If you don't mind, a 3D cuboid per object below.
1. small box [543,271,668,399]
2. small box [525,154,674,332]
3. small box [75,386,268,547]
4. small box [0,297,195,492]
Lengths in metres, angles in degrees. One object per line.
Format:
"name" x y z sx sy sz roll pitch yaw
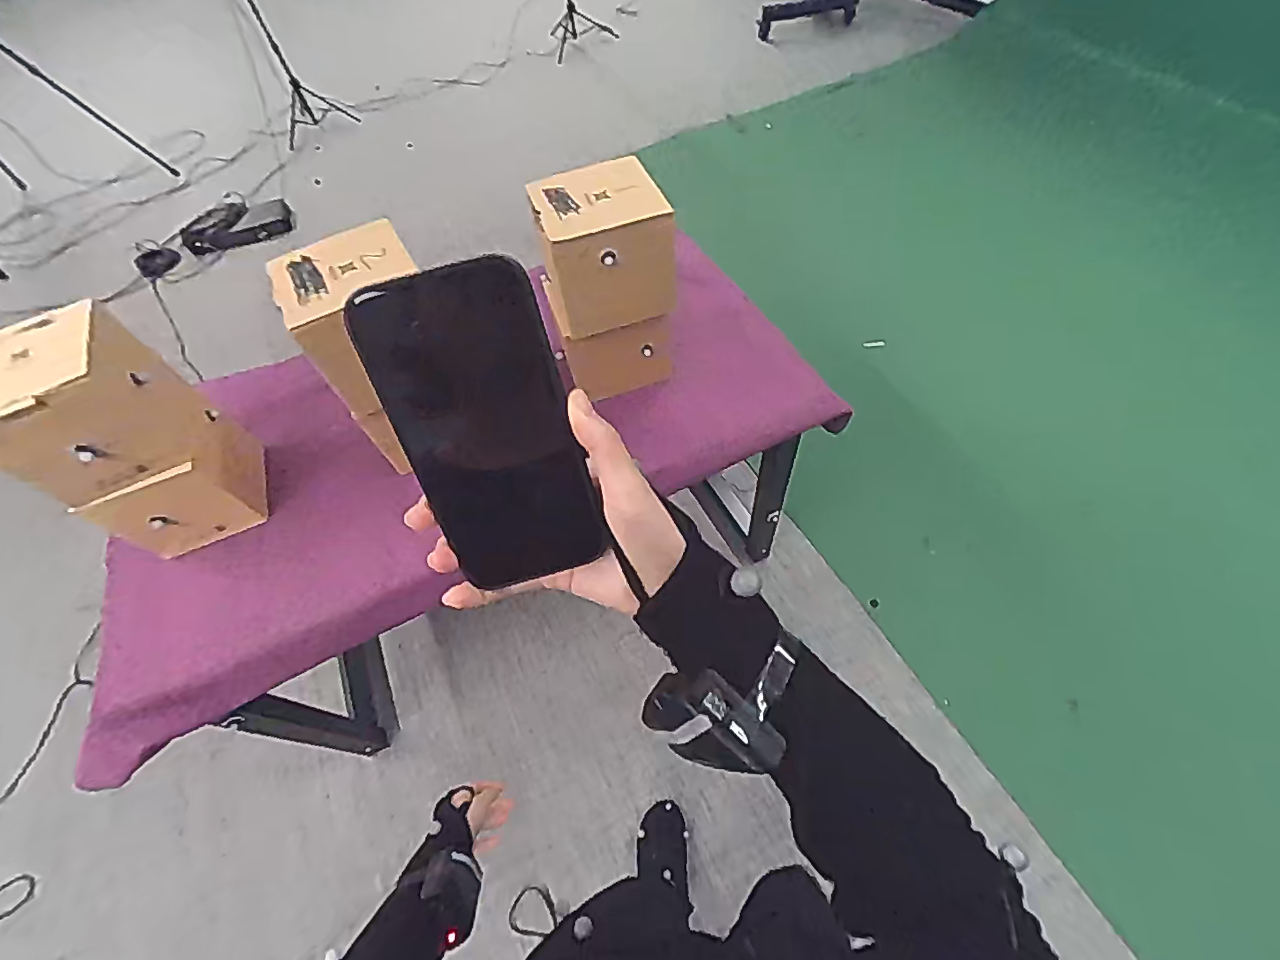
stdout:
"small box" -0.056 -0.274 0.965 0.179 0.176 0.168 -18 57 -6
"small box" -0.056 -0.353 0.821 0.179 0.176 0.168 -18 57 -7
"small box" -0.732 -0.012 0.867 0.168 0.176 0.179 -23 58 -9
"small box" -0.750 -0.106 0.733 0.168 0.176 0.179 -27 60 -12
